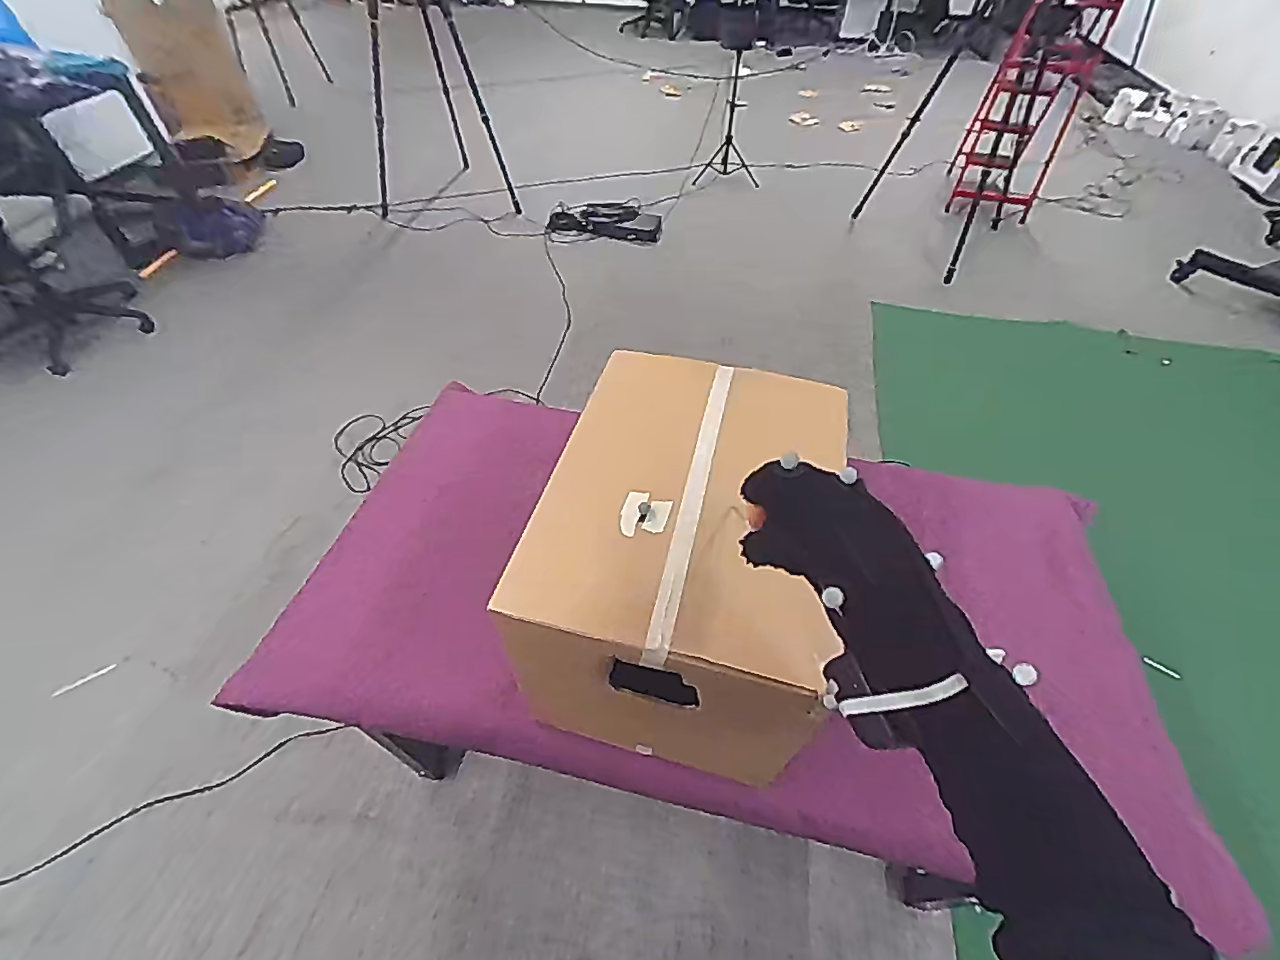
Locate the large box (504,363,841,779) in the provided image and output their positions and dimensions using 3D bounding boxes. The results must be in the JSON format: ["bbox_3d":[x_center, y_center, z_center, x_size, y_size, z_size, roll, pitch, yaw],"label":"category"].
[{"bbox_3d":[0.061,0.109,0.716,0.320,0.320,0.408,12,50,9],"label":"large box"}]
